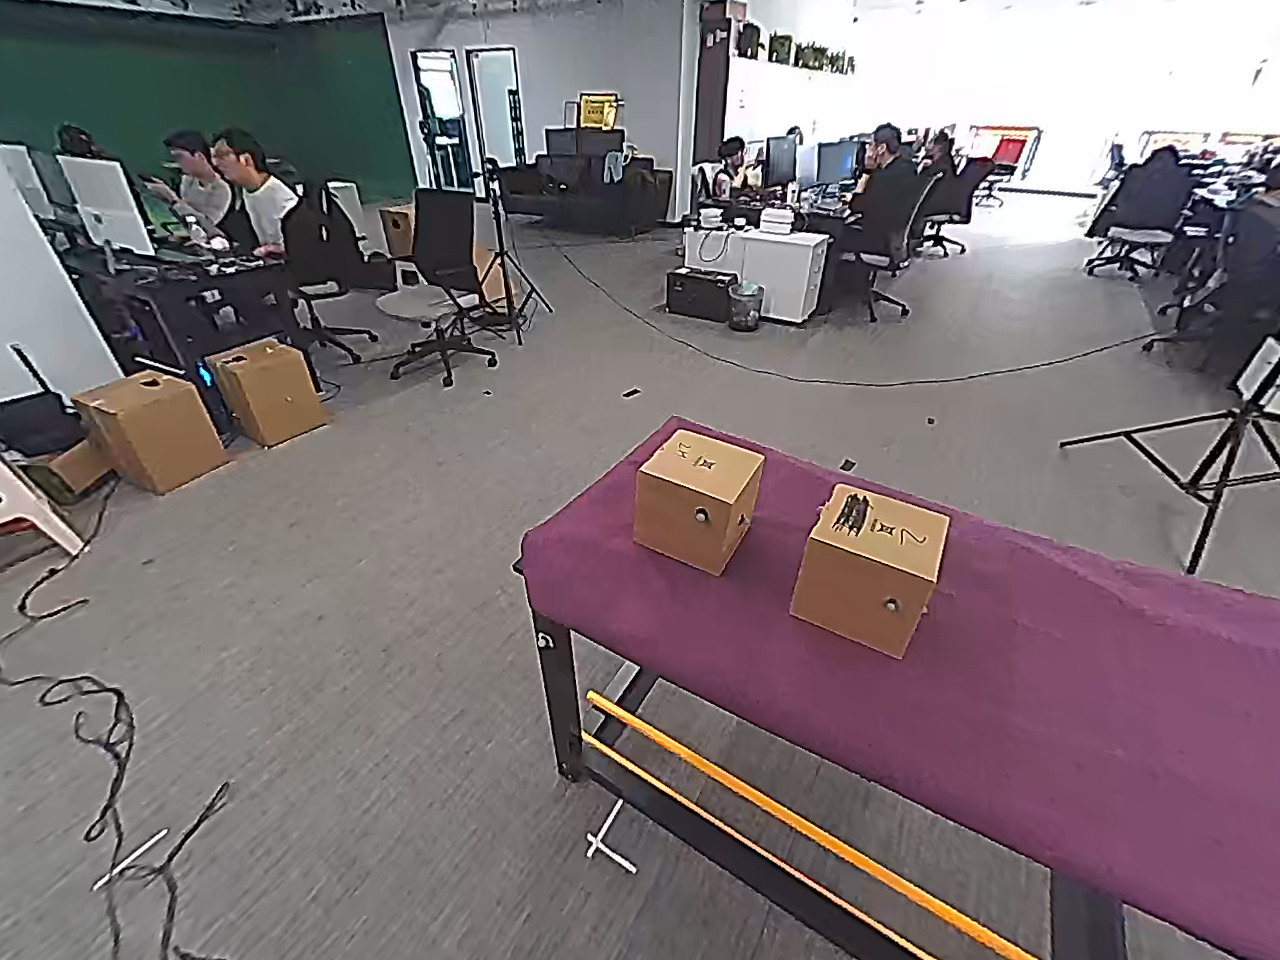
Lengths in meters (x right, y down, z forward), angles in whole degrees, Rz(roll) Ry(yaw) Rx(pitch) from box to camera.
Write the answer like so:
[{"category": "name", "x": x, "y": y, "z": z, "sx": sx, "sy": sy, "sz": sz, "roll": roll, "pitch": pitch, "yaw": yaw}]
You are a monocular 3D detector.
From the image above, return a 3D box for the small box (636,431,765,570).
[{"category": "small box", "x": 0.107, "y": 0.039, "z": 0.997, "sx": 0.179, "sy": 0.176, "sz": 0.168, "roll": 20, "pitch": 39, "yaw": 22}]
